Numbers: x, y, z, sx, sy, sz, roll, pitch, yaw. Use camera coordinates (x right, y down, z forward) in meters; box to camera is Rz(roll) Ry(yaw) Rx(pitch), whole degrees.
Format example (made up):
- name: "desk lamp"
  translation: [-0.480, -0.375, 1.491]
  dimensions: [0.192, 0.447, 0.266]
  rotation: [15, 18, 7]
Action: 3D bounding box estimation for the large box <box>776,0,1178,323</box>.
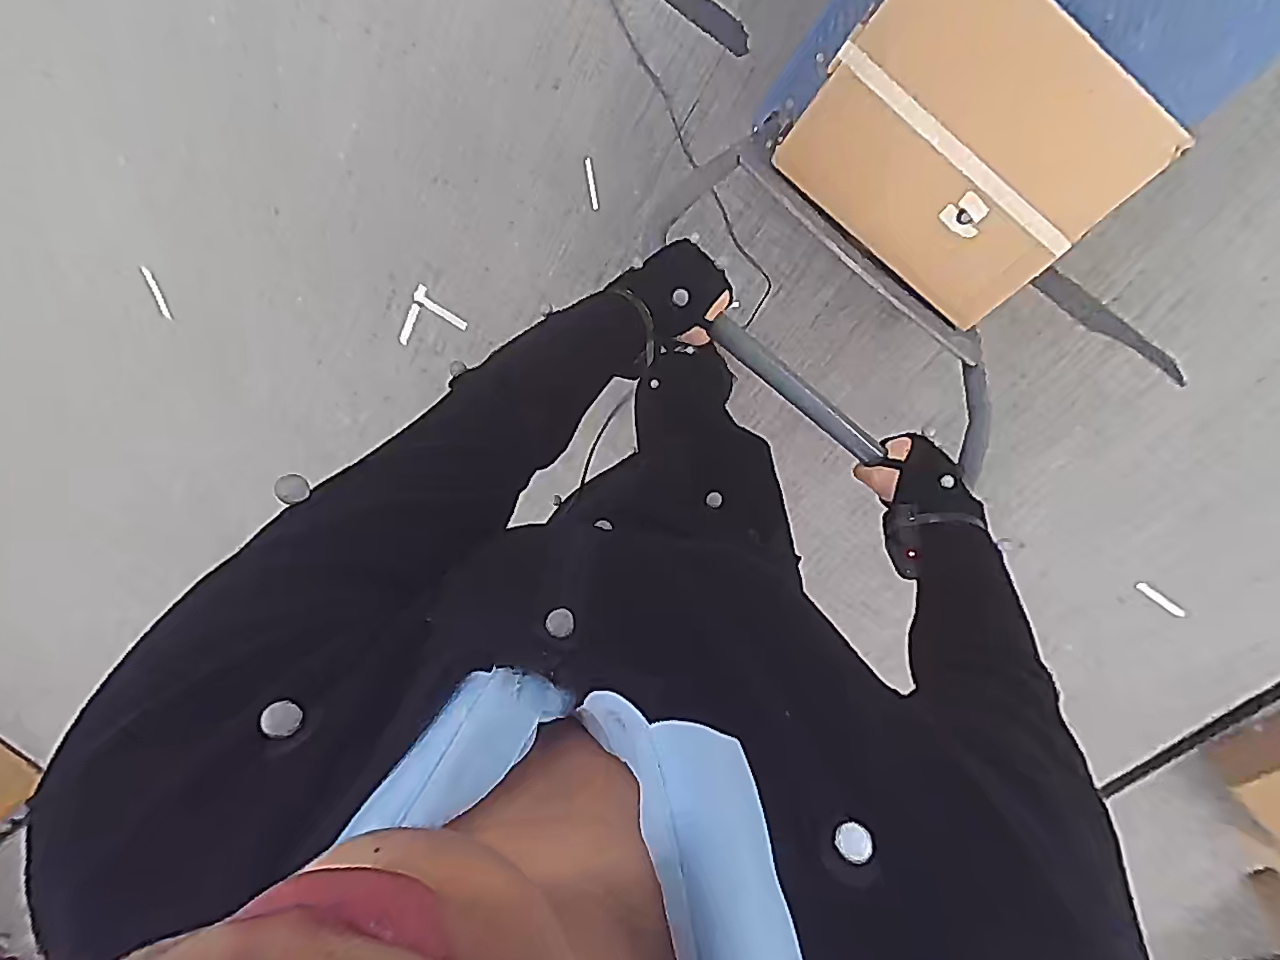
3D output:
- name: "large box"
  translation: [0.484, -0.536, 0.862]
  dimensions: [0.408, 0.320, 0.320]
  rotation: [38, 131, -7]
